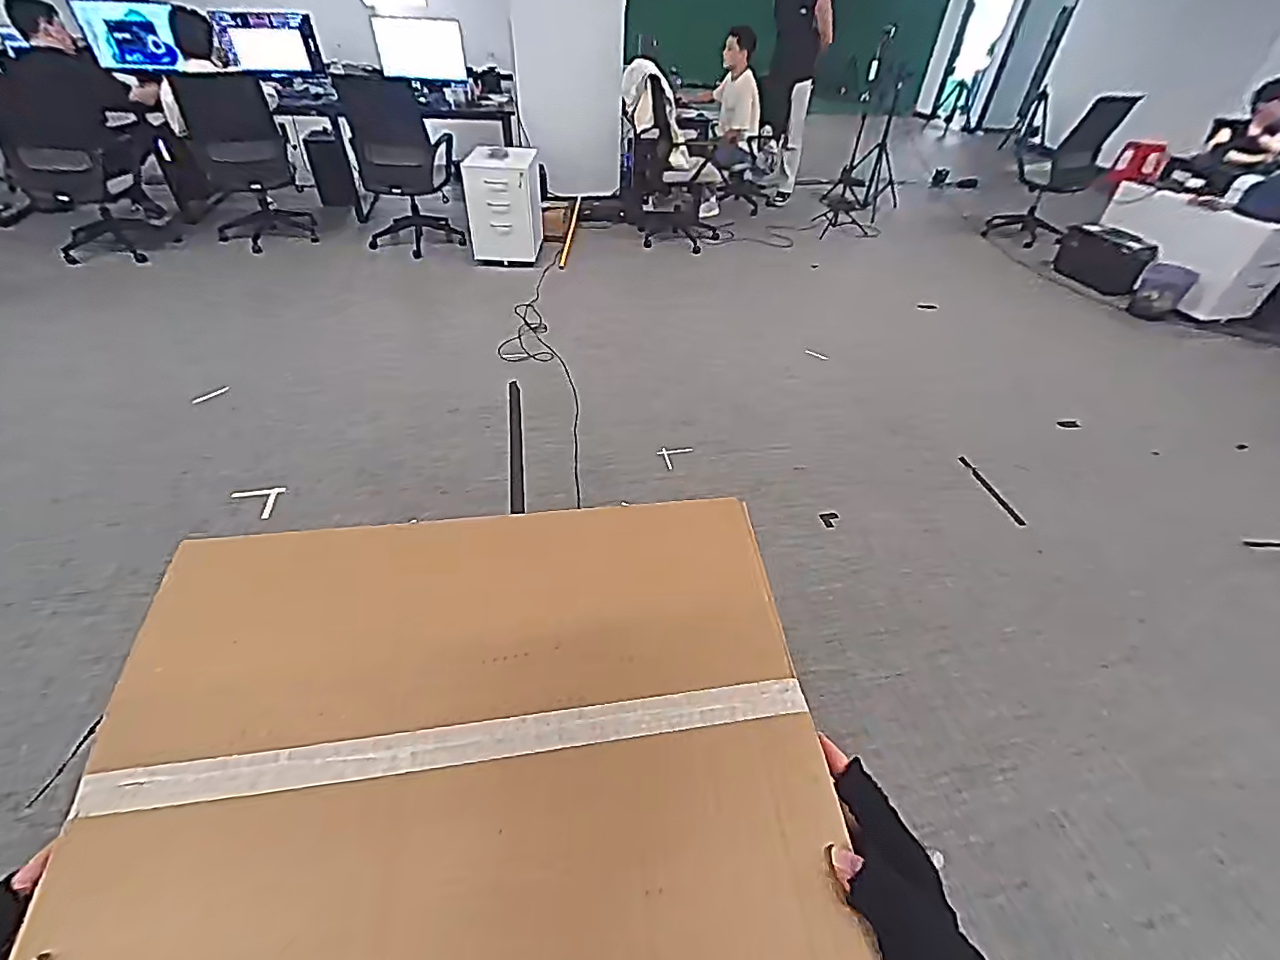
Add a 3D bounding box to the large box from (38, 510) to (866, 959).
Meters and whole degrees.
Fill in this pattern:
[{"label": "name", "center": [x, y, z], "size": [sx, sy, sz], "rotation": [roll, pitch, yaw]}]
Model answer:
[{"label": "large box", "center": [-0.106, 0.251, 0.441], "size": [0.408, 0.320, 0.320], "rotation": [-5, 53, -8]}]
